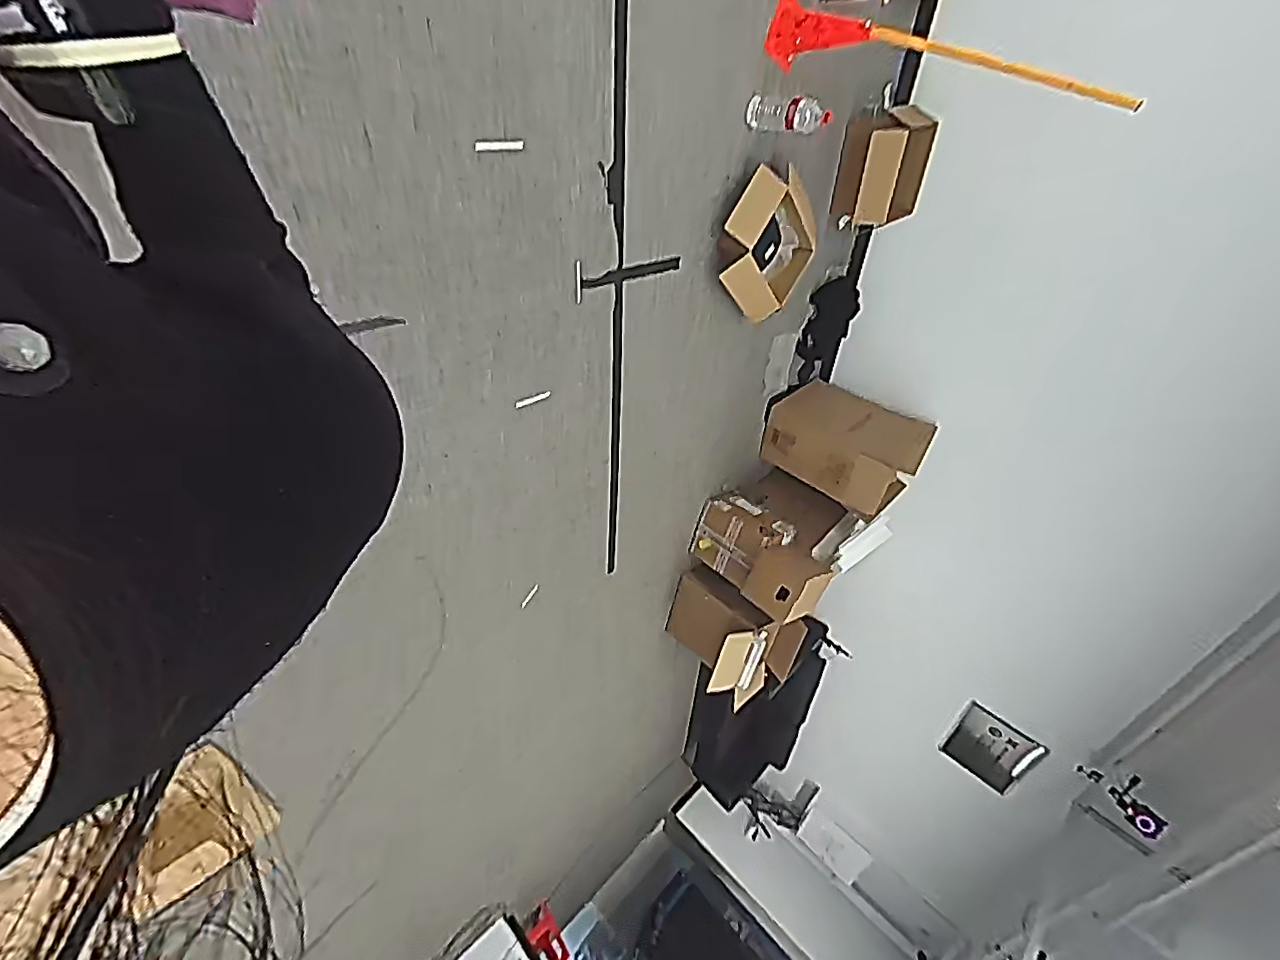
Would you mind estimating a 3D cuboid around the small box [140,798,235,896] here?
[{"bbox_3d":[-1.428,1.149,1.704,0.168,0.176,0.179,-29,138,-34],"label":"small box"}]
